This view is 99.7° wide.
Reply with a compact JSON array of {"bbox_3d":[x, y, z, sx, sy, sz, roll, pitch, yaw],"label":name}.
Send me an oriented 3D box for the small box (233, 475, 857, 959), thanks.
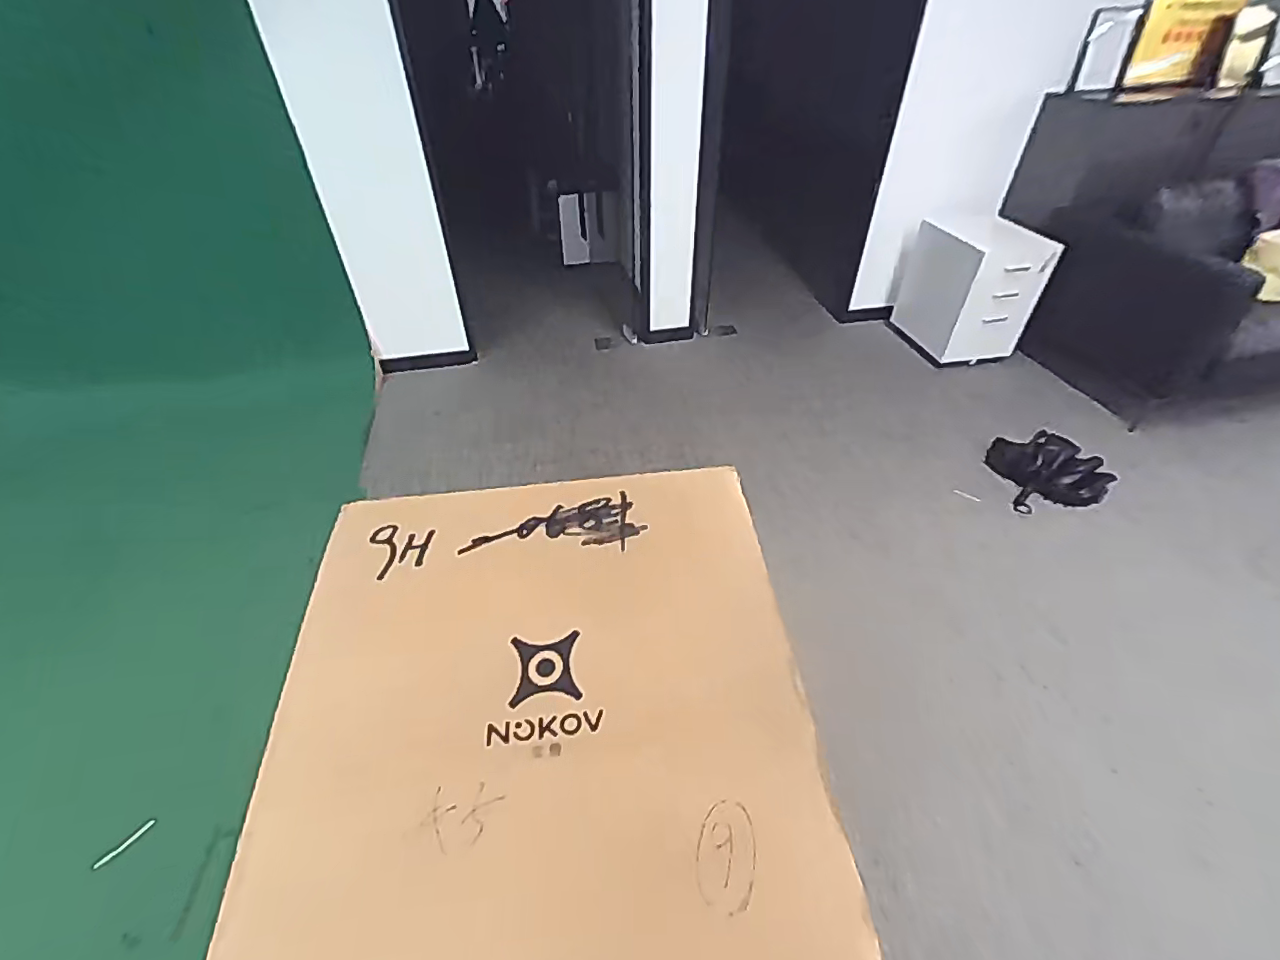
[{"bbox_3d":[-0.030,0.122,0.243,0.168,0.176,0.179,-5,52,-4],"label":"small box"}]
